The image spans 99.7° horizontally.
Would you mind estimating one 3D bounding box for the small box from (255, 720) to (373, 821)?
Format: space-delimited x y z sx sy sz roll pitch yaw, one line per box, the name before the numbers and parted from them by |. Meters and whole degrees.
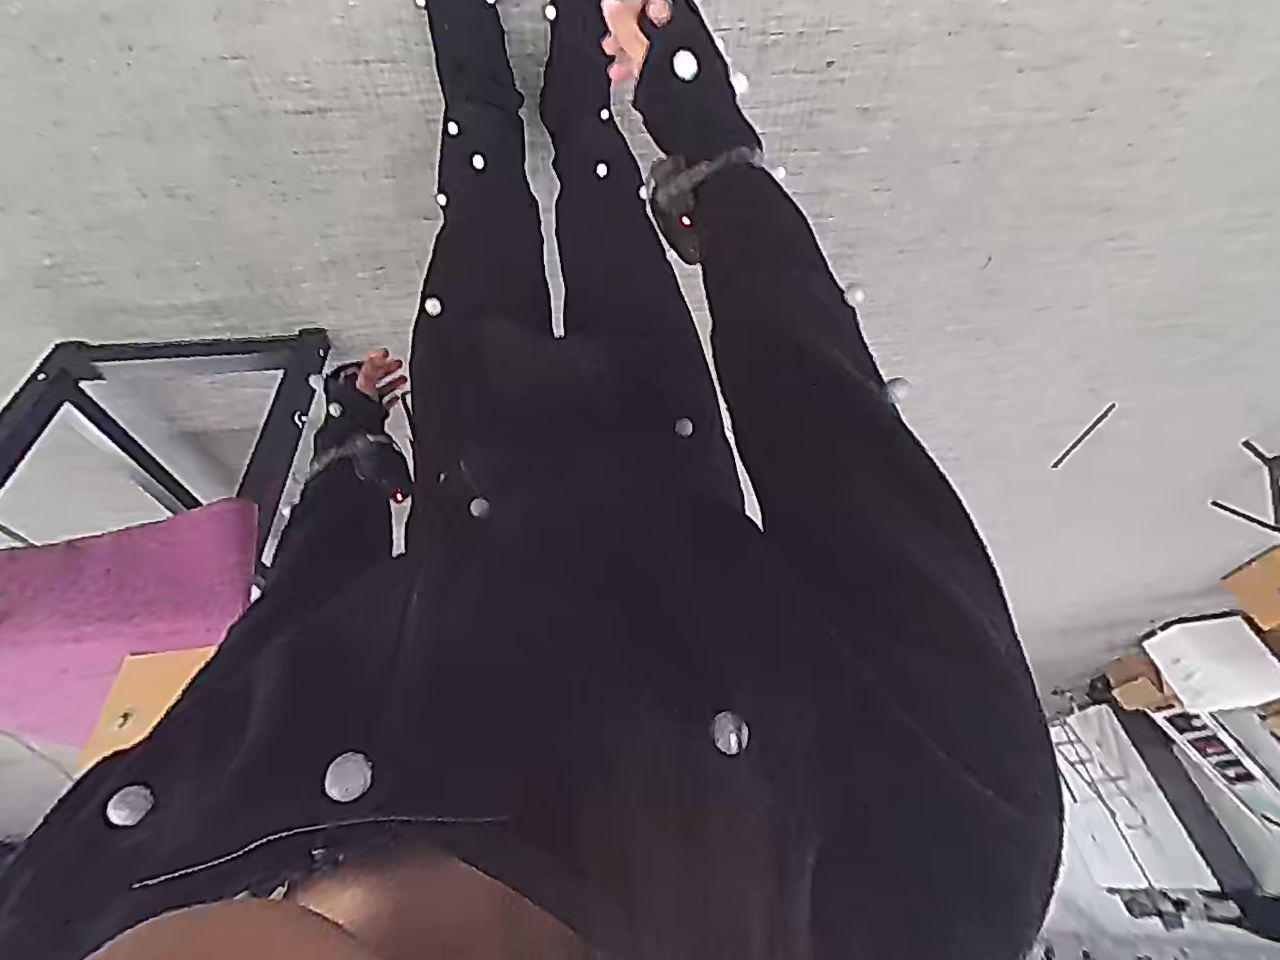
small box | -0.736 0.662 1.240 0.168 0.176 0.179 -5 143 -7
